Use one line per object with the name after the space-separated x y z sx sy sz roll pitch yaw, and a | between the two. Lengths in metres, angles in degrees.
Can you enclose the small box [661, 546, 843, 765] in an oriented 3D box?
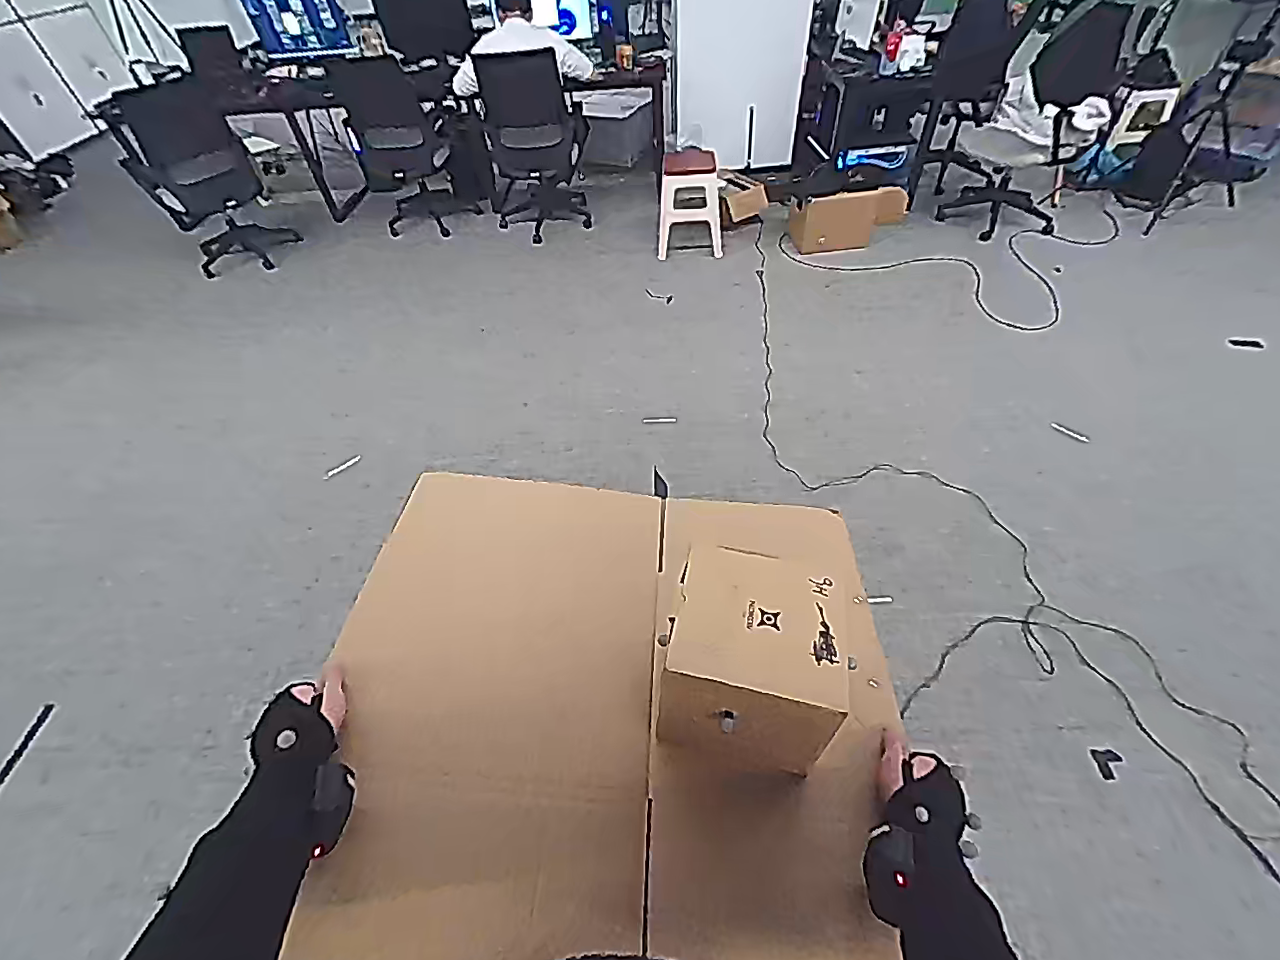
0.123 0.203 0.624 0.179 0.176 0.168 9 45 10 | small box
